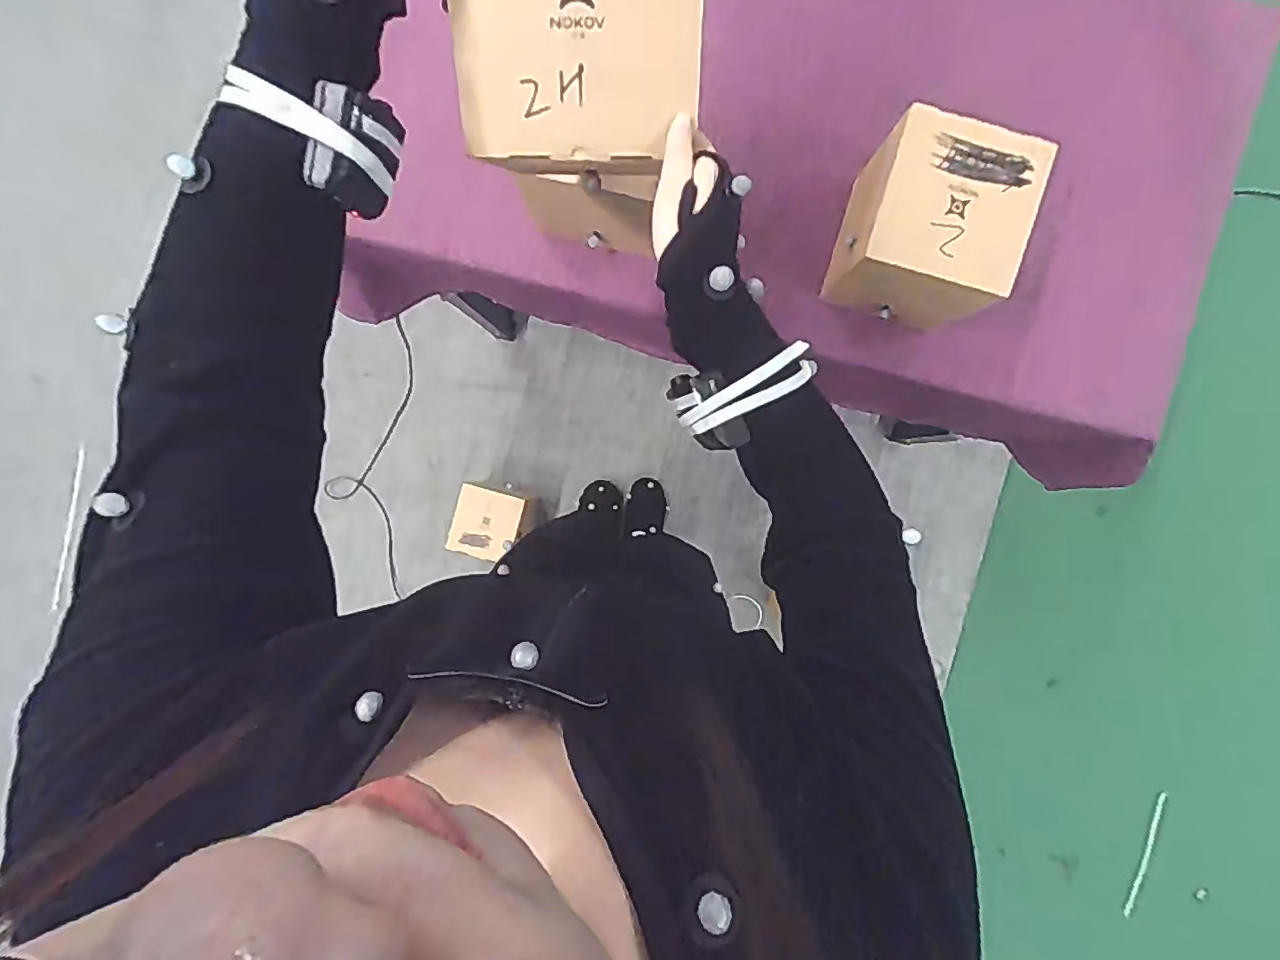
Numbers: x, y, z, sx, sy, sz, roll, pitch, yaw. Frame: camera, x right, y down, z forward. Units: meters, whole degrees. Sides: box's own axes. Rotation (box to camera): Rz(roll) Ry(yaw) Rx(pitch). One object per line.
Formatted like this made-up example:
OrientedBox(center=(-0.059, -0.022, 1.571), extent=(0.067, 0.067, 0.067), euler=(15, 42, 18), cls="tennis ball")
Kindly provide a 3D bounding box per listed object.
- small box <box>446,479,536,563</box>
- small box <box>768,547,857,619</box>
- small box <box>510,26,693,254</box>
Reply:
OrientedBox(center=(-0.388, 0.103, 1.437), extent=(0.168, 0.176, 0.179), euler=(16, 91, 0), cls="small box")
OrientedBox(center=(0.451, 0.281, 1.430), extent=(0.179, 0.176, 0.168), euler=(13, 93, 0), cls="small box")
OrientedBox(center=(-0.043, -0.406, 0.679), extent=(0.179, 0.176, 0.168), euler=(13, 92, 0), cls="small box")
